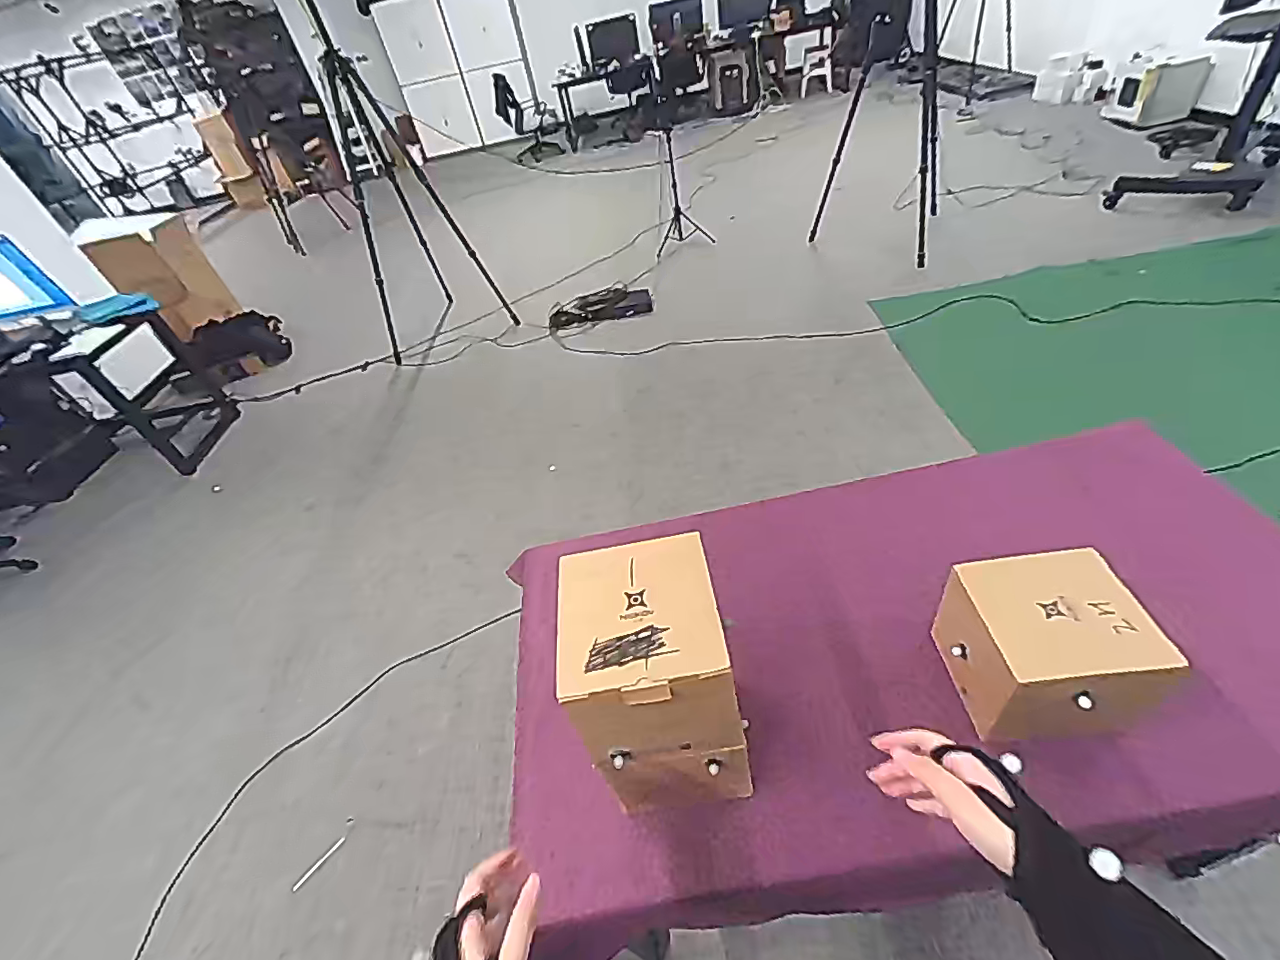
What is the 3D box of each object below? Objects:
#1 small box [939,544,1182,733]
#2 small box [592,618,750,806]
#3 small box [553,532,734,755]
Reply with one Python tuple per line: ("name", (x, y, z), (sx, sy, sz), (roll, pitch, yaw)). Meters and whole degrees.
("small box", (0.506, 0.207, 0.692), (0.179, 0.176, 0.168), (-9, 43, 7))
("small box", (0.040, 0.311, 0.720), (0.179, 0.176, 0.168), (-11, 42, 4))
("small box", (0.006, 0.190, 0.613), (0.168, 0.176, 0.179), (-11, 40, 3))
